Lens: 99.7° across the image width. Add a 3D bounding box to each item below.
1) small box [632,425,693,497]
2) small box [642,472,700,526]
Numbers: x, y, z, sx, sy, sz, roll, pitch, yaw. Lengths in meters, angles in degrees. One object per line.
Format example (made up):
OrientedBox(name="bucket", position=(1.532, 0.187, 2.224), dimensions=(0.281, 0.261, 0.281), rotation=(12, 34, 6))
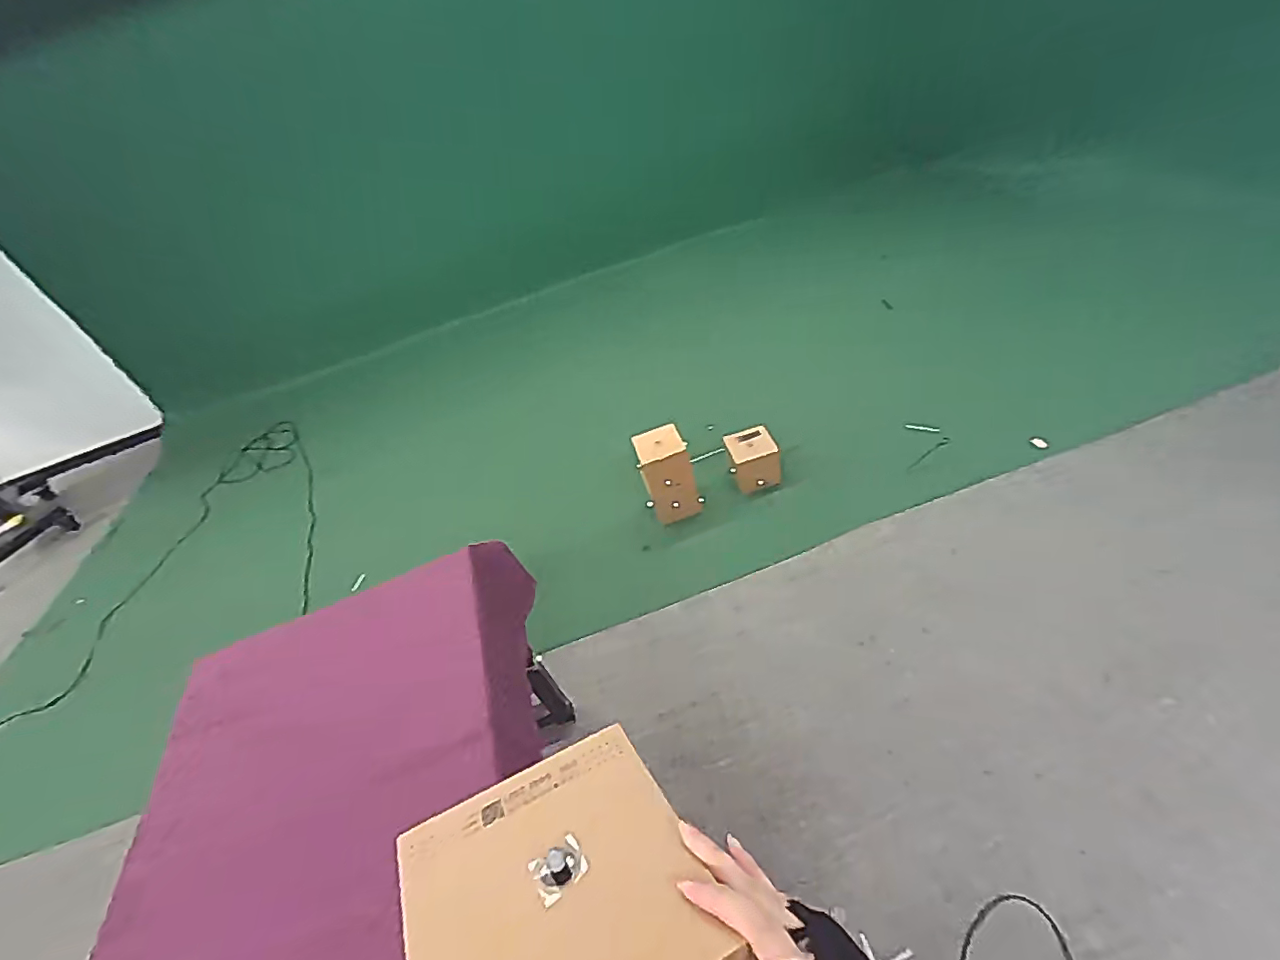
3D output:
OrientedBox(name="small box", position=(0.084, -0.068, 1.999), dimensions=(0.168, 0.176, 0.179), rotation=(-20, 41, -1))
OrientedBox(name="small box", position=(0.124, 0.048, 2.106), dimensions=(0.179, 0.176, 0.168), rotation=(-21, 40, 0))
